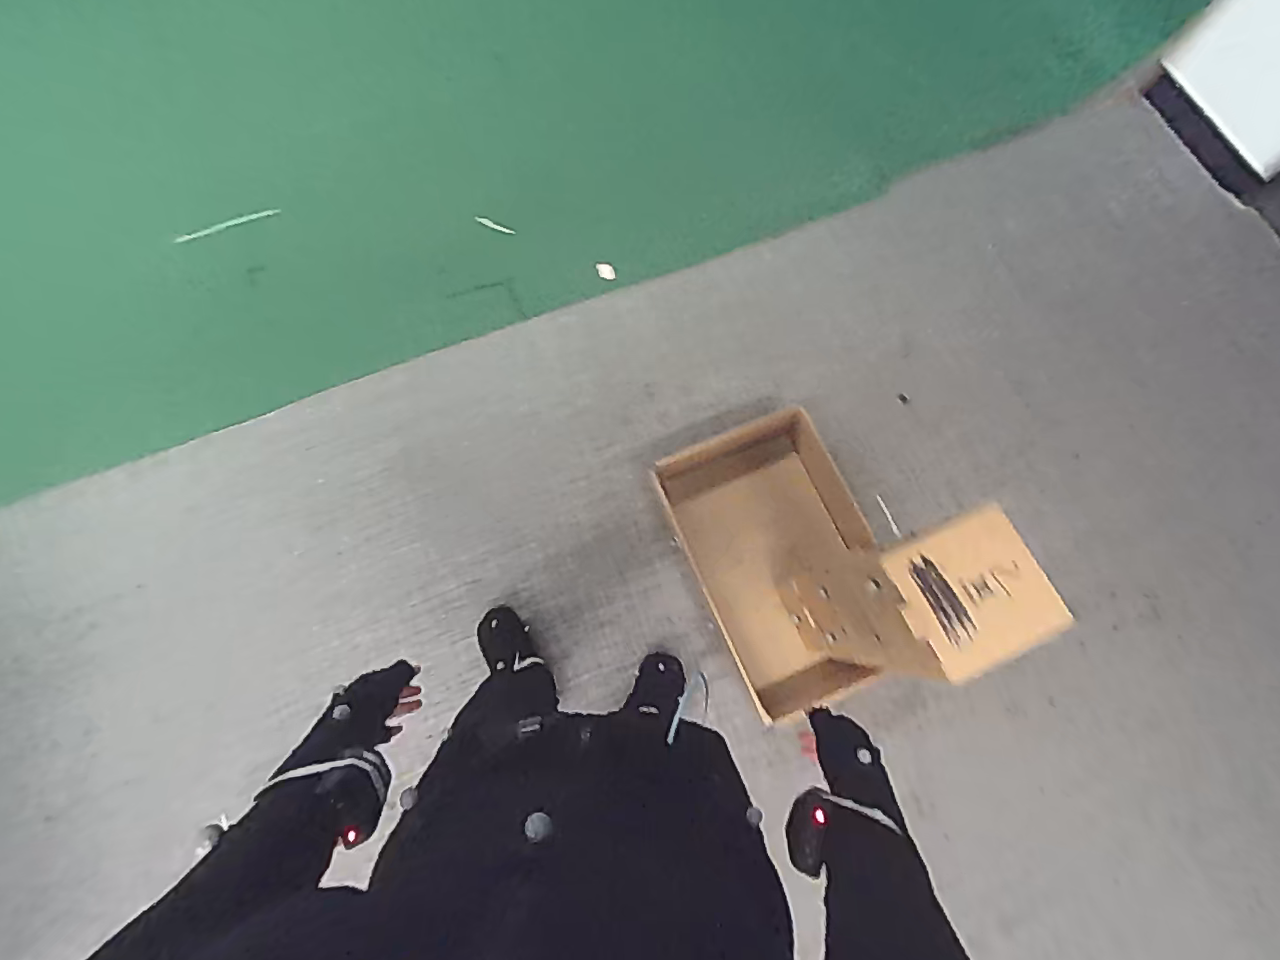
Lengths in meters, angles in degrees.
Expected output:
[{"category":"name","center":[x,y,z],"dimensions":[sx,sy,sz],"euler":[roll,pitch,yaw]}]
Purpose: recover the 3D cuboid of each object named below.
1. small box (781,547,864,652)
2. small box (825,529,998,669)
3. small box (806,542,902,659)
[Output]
[{"category":"small box","center":[0.435,0.274,1.217],"dimensions":[0.179,0.176,0.168],"euler":[-26,74,-7]},{"category":"small box","center":[0.429,0.199,0.896],"dimensions":[0.179,0.176,0.168],"euler":[-21,76,-5]},{"category":"small box","center":[0.438,0.237,1.038],"dimensions":[0.179,0.176,0.168],"euler":[-22,75,-5]}]
